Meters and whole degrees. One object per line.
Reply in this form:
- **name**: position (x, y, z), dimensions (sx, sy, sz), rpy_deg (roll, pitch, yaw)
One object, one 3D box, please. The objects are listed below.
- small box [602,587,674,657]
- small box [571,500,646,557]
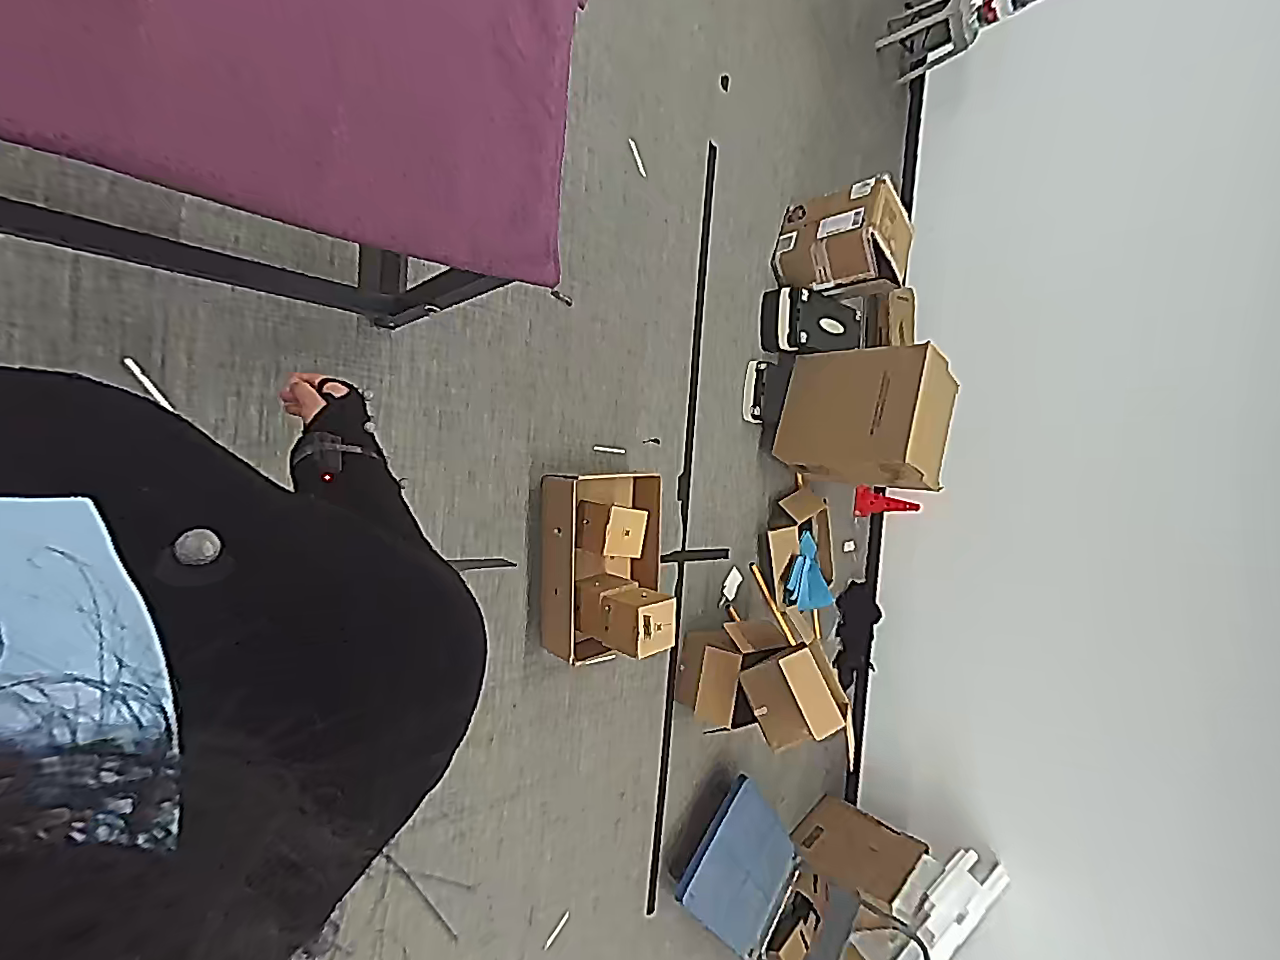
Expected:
- **small box**: position (-0.009, 0.456, 1.761), dimensions (0.179, 0.176, 0.168), rpy_deg (-2, 96, -45)
- **small box**: position (-0.109, 0.165, 1.864), dimensions (0.179, 0.176, 0.168), rpy_deg (12, 88, -44)
